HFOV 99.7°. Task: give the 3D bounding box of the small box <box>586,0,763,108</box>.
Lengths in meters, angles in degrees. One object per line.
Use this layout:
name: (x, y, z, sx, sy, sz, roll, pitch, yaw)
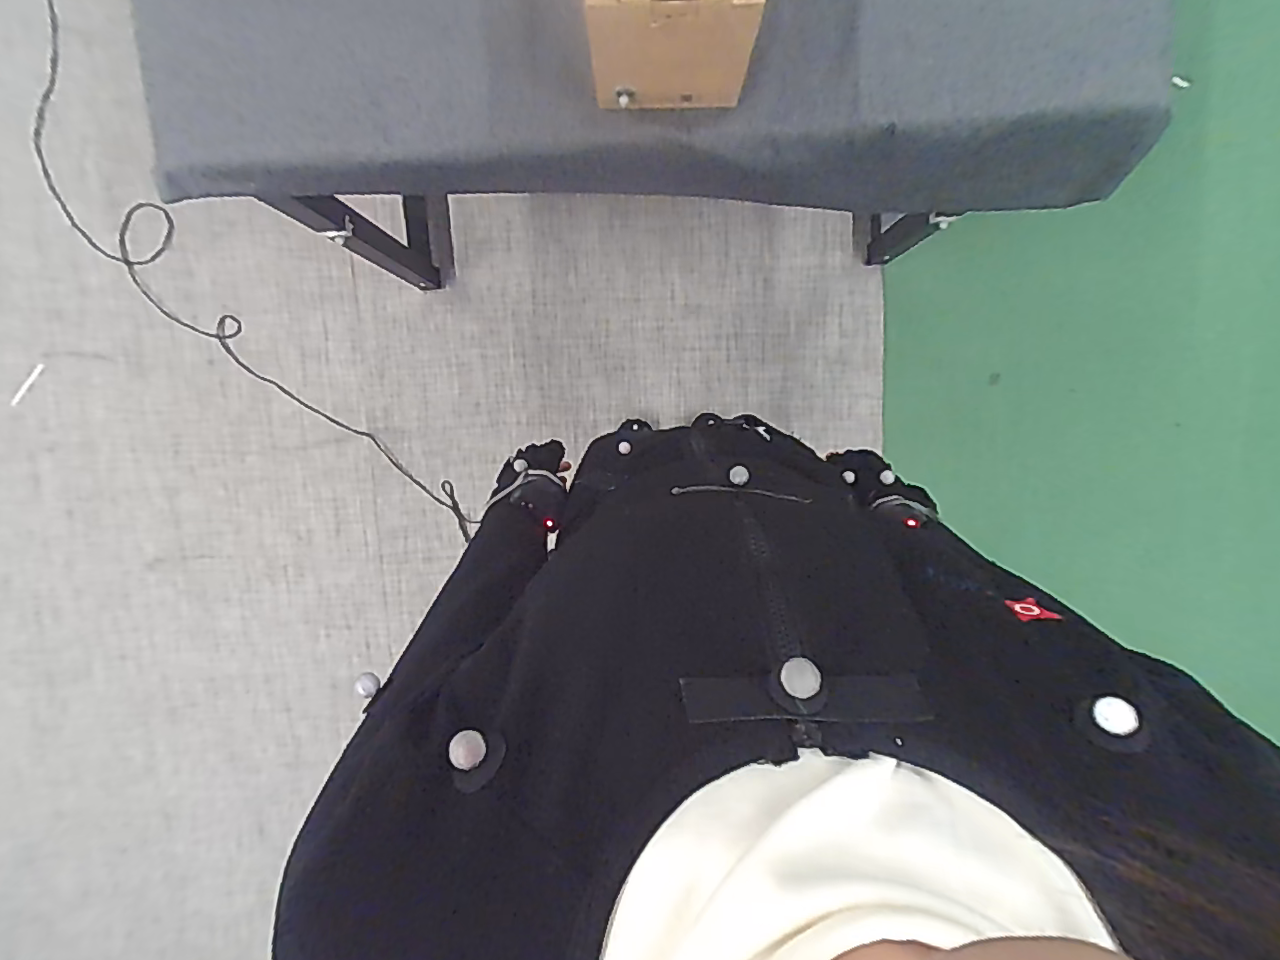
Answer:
small box: (0.035, -0.524, 0.564, 0.168, 0.176, 0.179, 1, 95, 0)
